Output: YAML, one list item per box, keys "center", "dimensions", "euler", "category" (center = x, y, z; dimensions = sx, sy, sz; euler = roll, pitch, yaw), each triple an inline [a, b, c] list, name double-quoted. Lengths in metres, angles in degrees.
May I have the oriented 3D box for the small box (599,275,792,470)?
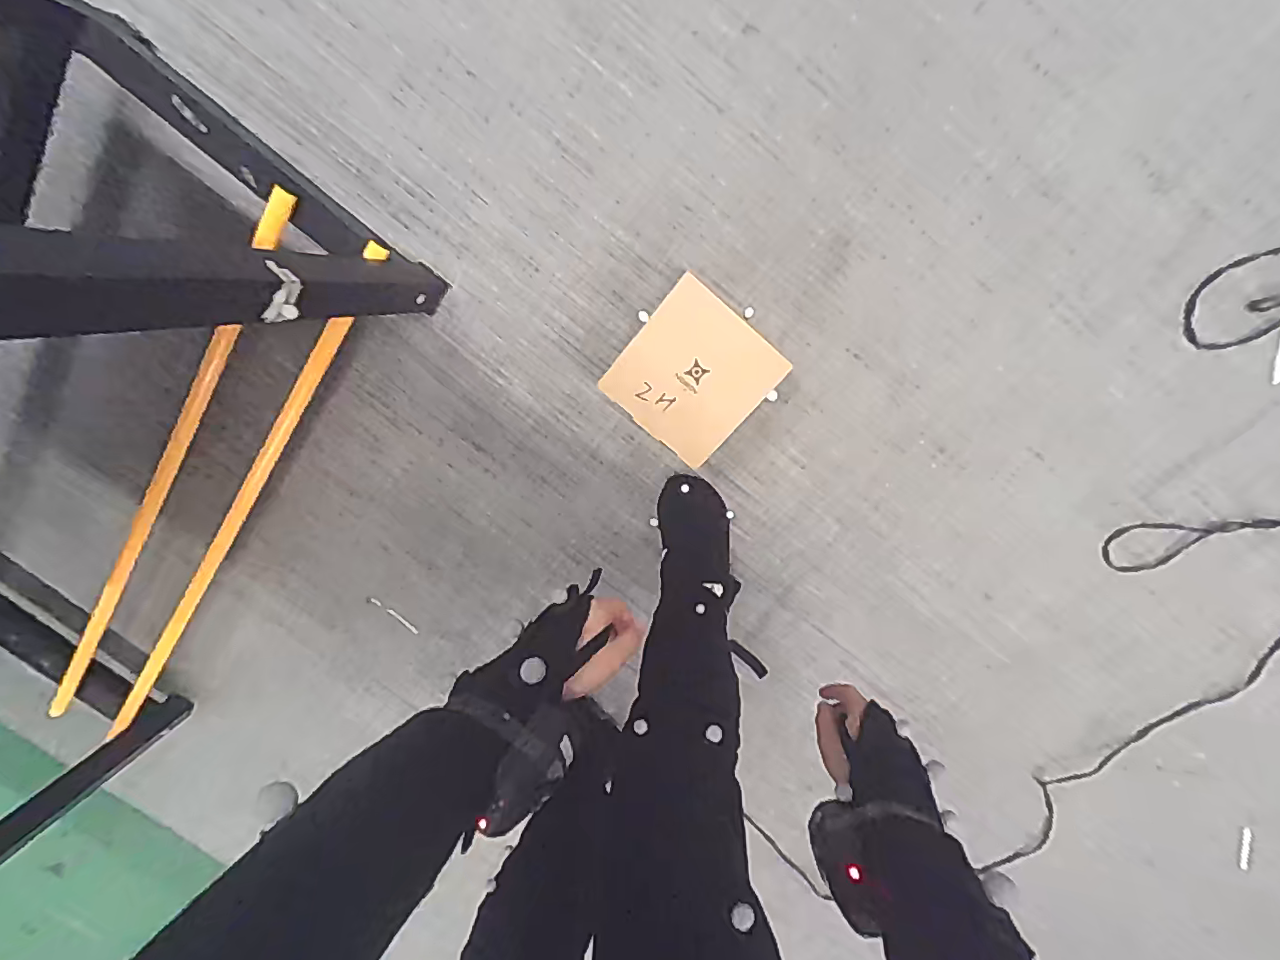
- center: [0.073, -0.148, 0.723]
  dimensions: [0.168, 0.176, 0.179]
  euler: [40, 109, -5]
  category: "small box"
